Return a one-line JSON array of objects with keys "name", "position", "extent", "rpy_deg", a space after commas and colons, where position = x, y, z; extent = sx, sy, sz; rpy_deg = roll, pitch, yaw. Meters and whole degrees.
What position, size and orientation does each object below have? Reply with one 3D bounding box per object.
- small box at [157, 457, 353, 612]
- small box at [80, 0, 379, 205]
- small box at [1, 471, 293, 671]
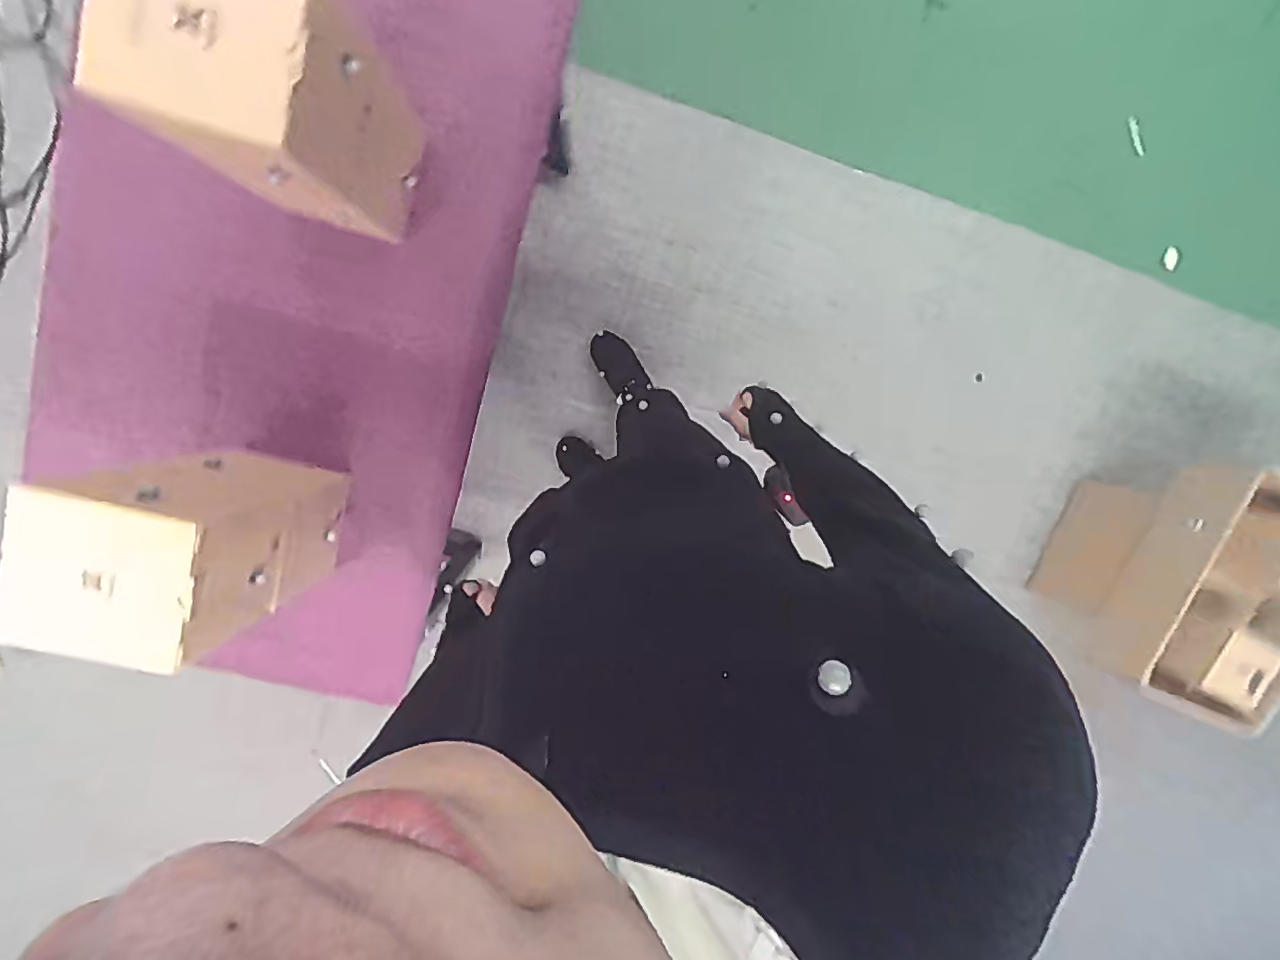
[{"name": "small box", "position": [-0.554, 0.067, 0.782], "extent": [0.179, 0.176, 0.168], "rpy_deg": [14, 98, -6]}, {"name": "small box", "position": [-0.396, -0.408, 0.554], "extent": [0.179, 0.176, 0.168], "rpy_deg": [14, 97, -6]}, {"name": "small box", "position": [-0.545, 0.091, 0.621], "extent": [0.179, 0.176, 0.168], "rpy_deg": [13, 97, -6]}]
